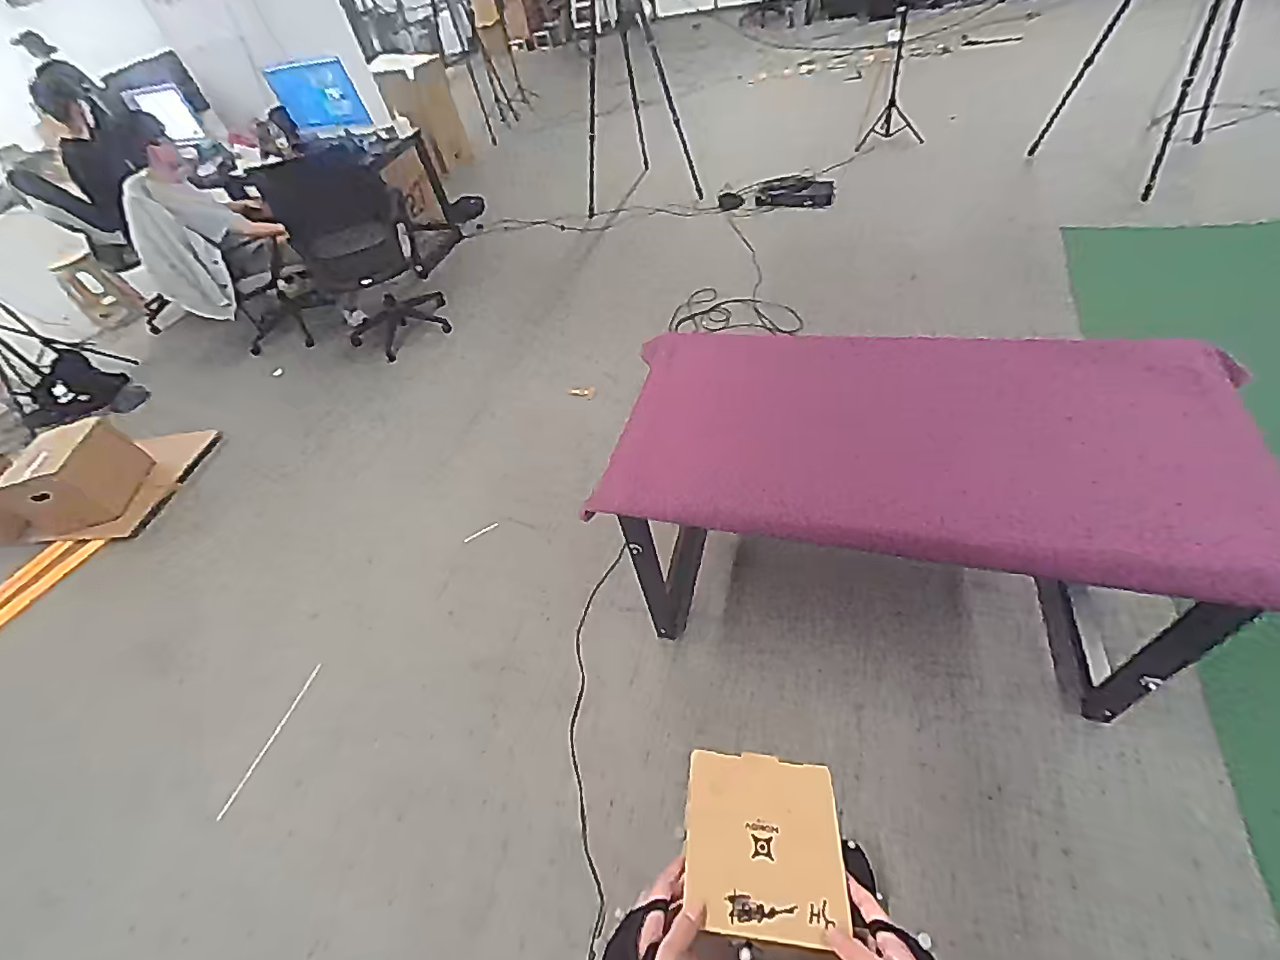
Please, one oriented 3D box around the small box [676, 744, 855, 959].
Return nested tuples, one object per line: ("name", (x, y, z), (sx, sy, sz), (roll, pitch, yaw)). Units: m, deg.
("small box", (0.131, 0.441, 0.625), (0.168, 0.176, 0.179), (4, 38, 6))
